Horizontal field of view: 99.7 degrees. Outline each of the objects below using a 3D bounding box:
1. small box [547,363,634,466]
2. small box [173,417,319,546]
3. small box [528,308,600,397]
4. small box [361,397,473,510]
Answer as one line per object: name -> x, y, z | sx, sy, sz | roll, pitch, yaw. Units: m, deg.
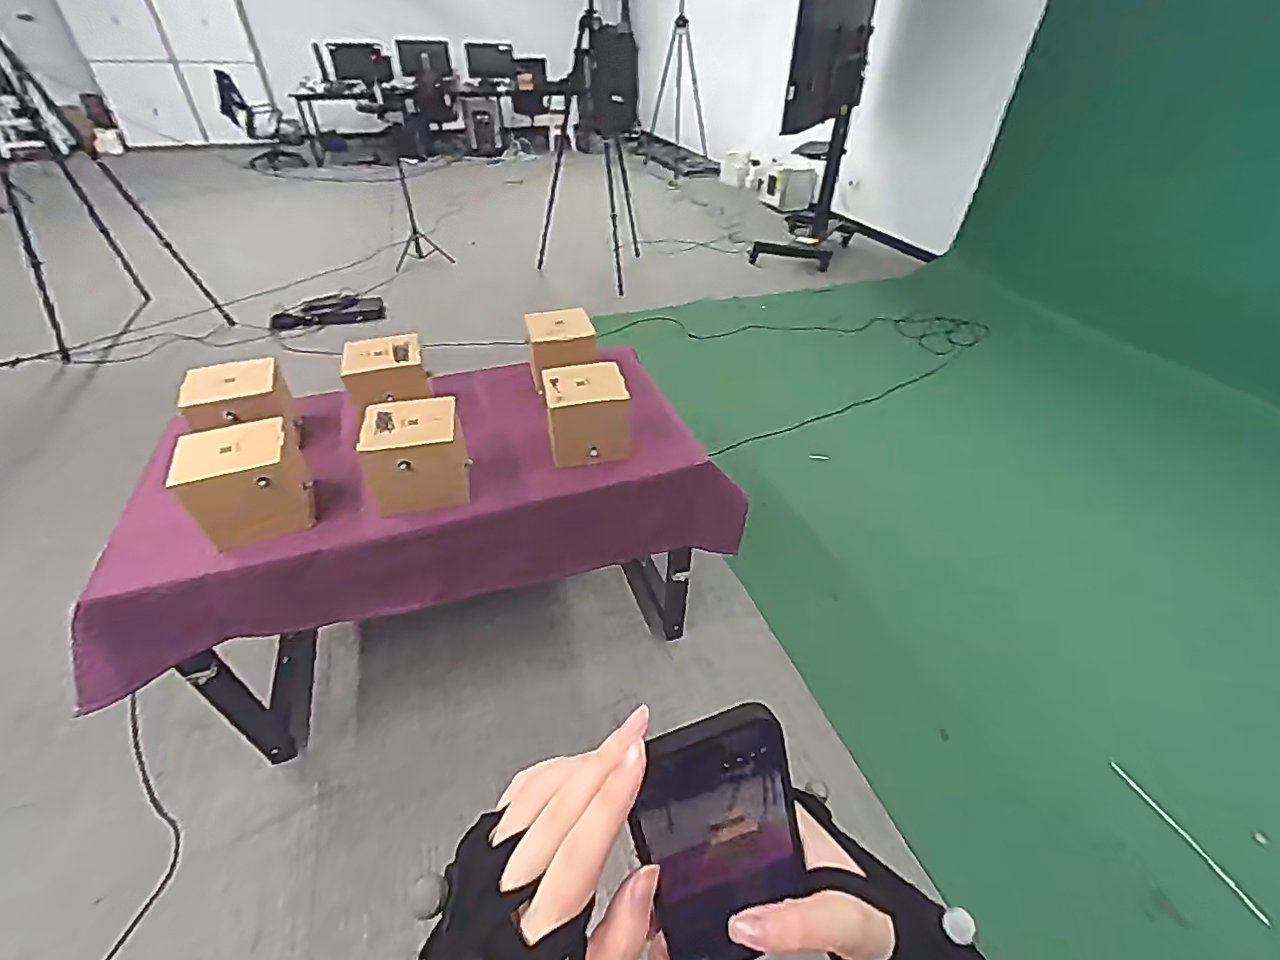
small box -> -0.117, -0.151, 1.249 | 0.179, 0.176, 0.168 | -7, 41, -10
small box -> -0.753, 0.004, 1.054 | 0.179, 0.176, 0.168 | -16, 43, -21
small box -> -0.207, -0.349, 1.476 | 0.168, 0.176, 0.179 | -10, 43, -12
small box -> -0.453, -0.053, 1.127 | 0.179, 0.176, 0.168 | -8, 42, -12
